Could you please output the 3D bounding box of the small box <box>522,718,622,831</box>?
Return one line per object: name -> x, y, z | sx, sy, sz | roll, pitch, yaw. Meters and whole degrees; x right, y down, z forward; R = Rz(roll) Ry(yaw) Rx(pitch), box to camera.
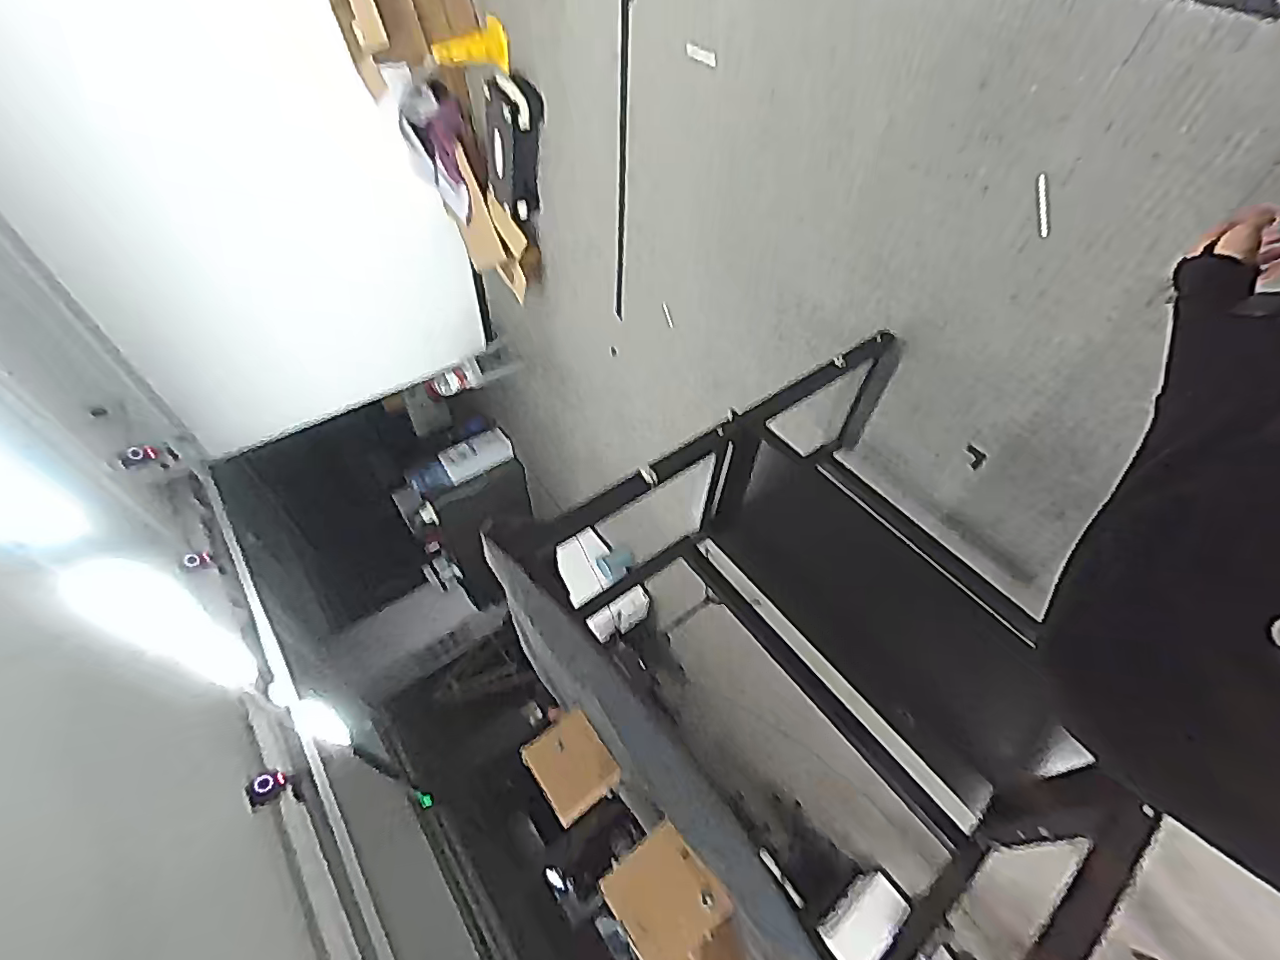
small box -> -0.163, 0.704, 1.307 | 0.179, 0.176, 0.168 | 48, 154, 26
